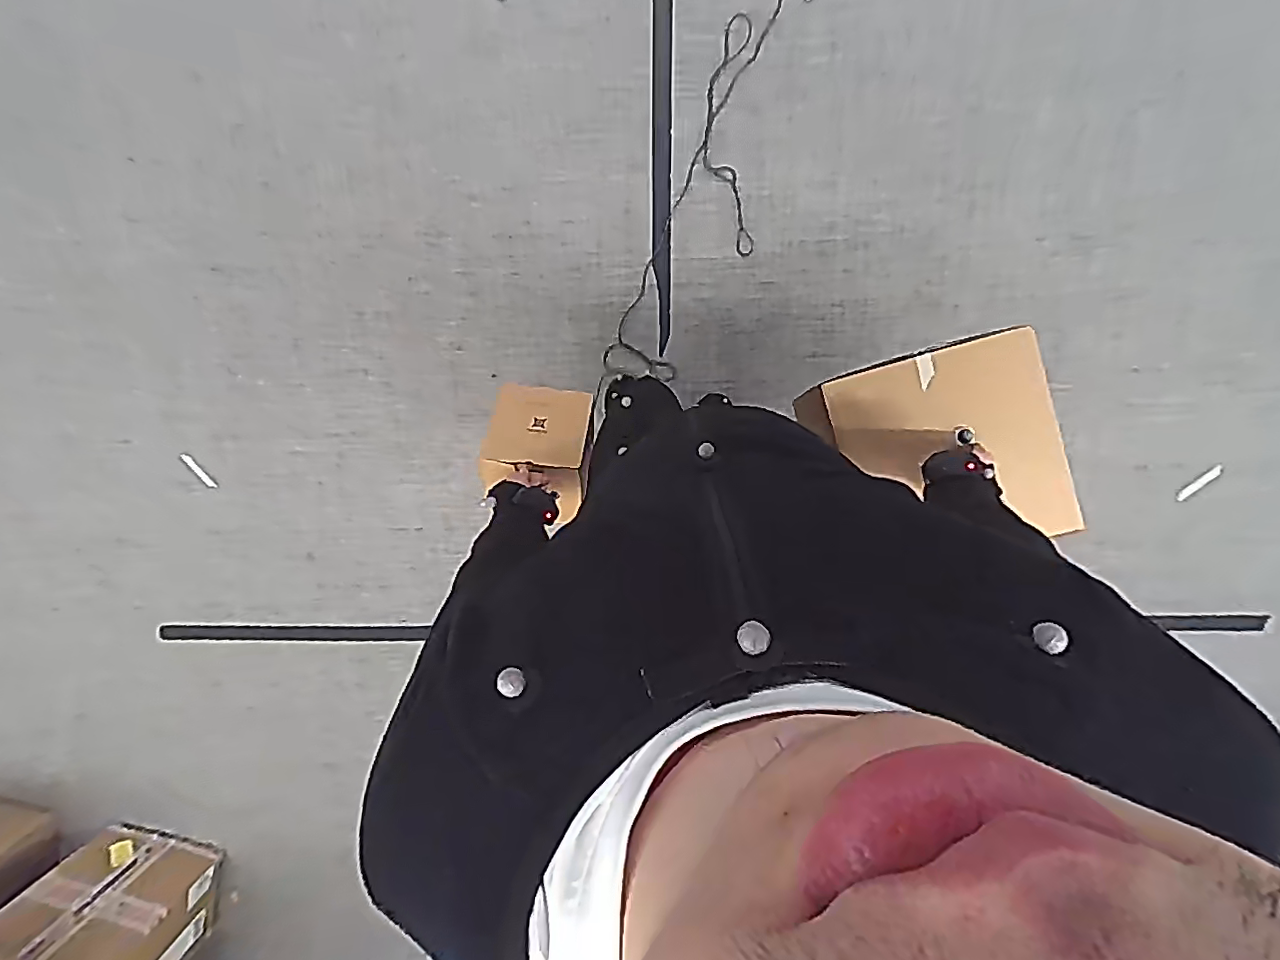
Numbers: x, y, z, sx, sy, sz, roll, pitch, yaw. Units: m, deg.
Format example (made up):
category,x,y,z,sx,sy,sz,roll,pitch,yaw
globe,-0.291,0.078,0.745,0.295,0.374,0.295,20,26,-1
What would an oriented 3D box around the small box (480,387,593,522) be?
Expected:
category,x,y,z,sx,sy,sz,roll,pitch,yaw
small box,-0.177,-0.042,0.981,0.168,0.179,0.176,6,142,-1
